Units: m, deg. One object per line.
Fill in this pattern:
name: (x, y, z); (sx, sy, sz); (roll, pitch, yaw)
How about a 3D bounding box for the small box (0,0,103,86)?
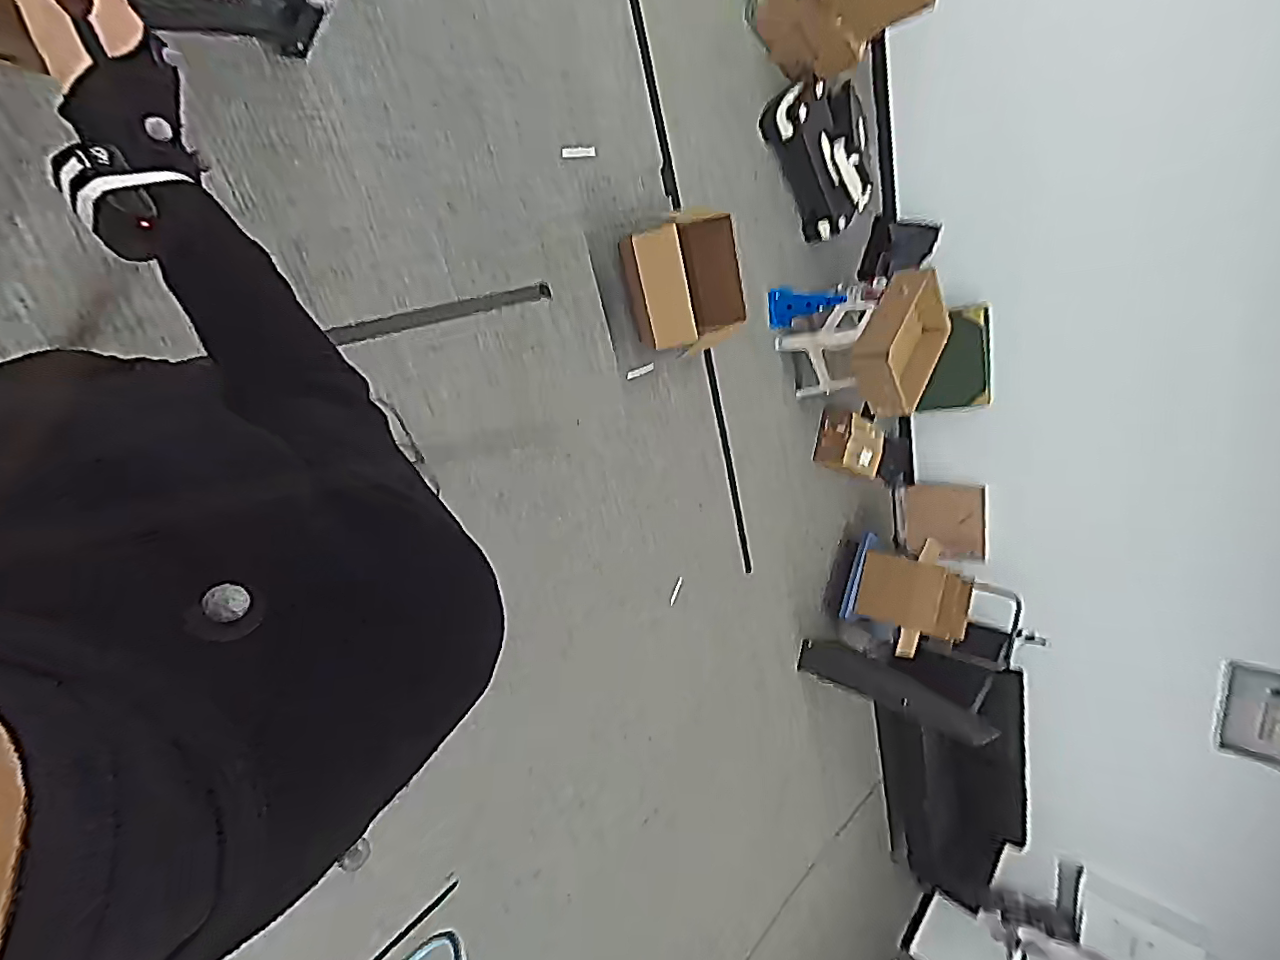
small box: (-0.524, -0.427, 0.385); (0.168, 0.176, 0.179); (-20, 110, -41)
